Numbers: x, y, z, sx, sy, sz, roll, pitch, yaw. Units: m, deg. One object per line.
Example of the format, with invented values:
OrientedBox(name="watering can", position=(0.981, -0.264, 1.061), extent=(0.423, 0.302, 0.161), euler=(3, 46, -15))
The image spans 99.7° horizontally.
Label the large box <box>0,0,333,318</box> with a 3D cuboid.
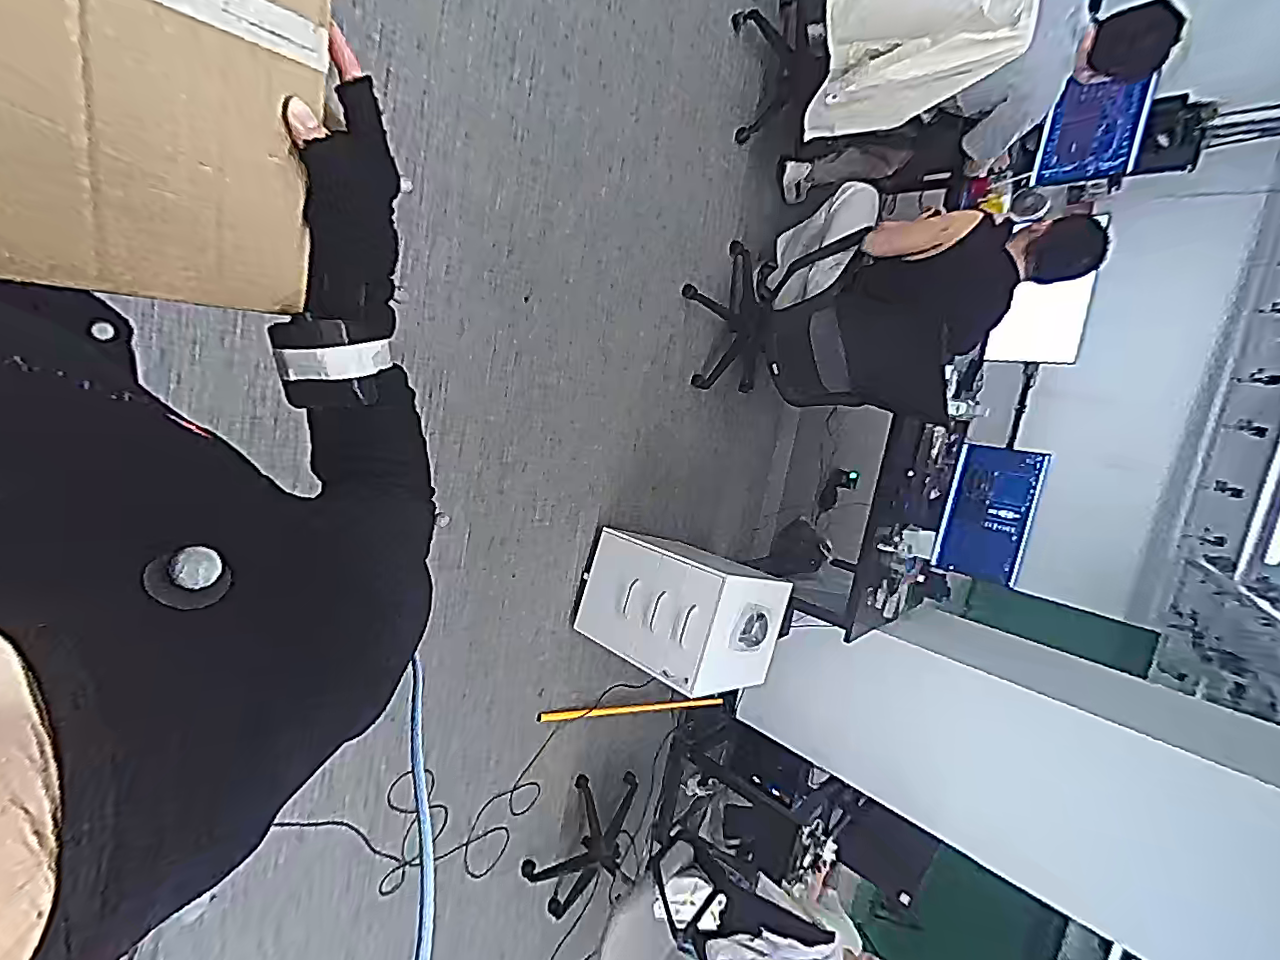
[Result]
OrientedBox(name="large box", position=(-0.423, -0.305, 0.268), extent=(0.408, 0.320, 0.320), euler=(-7, 128, -46))
